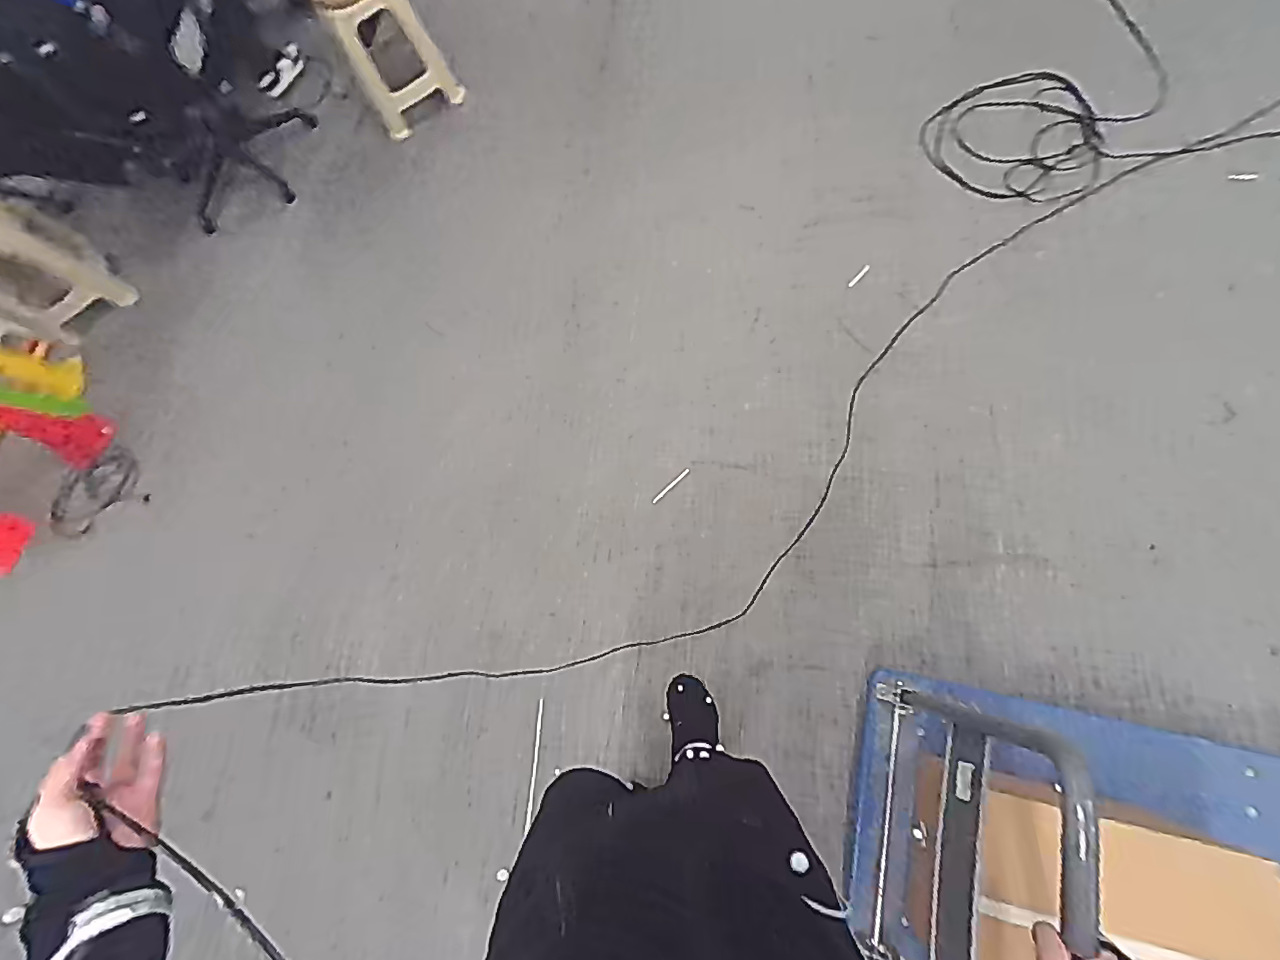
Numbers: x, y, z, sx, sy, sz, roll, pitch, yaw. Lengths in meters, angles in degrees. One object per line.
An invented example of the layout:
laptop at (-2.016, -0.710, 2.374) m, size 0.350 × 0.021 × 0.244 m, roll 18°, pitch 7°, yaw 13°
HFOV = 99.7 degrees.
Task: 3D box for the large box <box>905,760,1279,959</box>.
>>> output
large box at (0.708, 0.708, 0.916) m, size 0.408 × 0.320 × 0.320 m, roll 9°, pitch 75°, yaw 13°
